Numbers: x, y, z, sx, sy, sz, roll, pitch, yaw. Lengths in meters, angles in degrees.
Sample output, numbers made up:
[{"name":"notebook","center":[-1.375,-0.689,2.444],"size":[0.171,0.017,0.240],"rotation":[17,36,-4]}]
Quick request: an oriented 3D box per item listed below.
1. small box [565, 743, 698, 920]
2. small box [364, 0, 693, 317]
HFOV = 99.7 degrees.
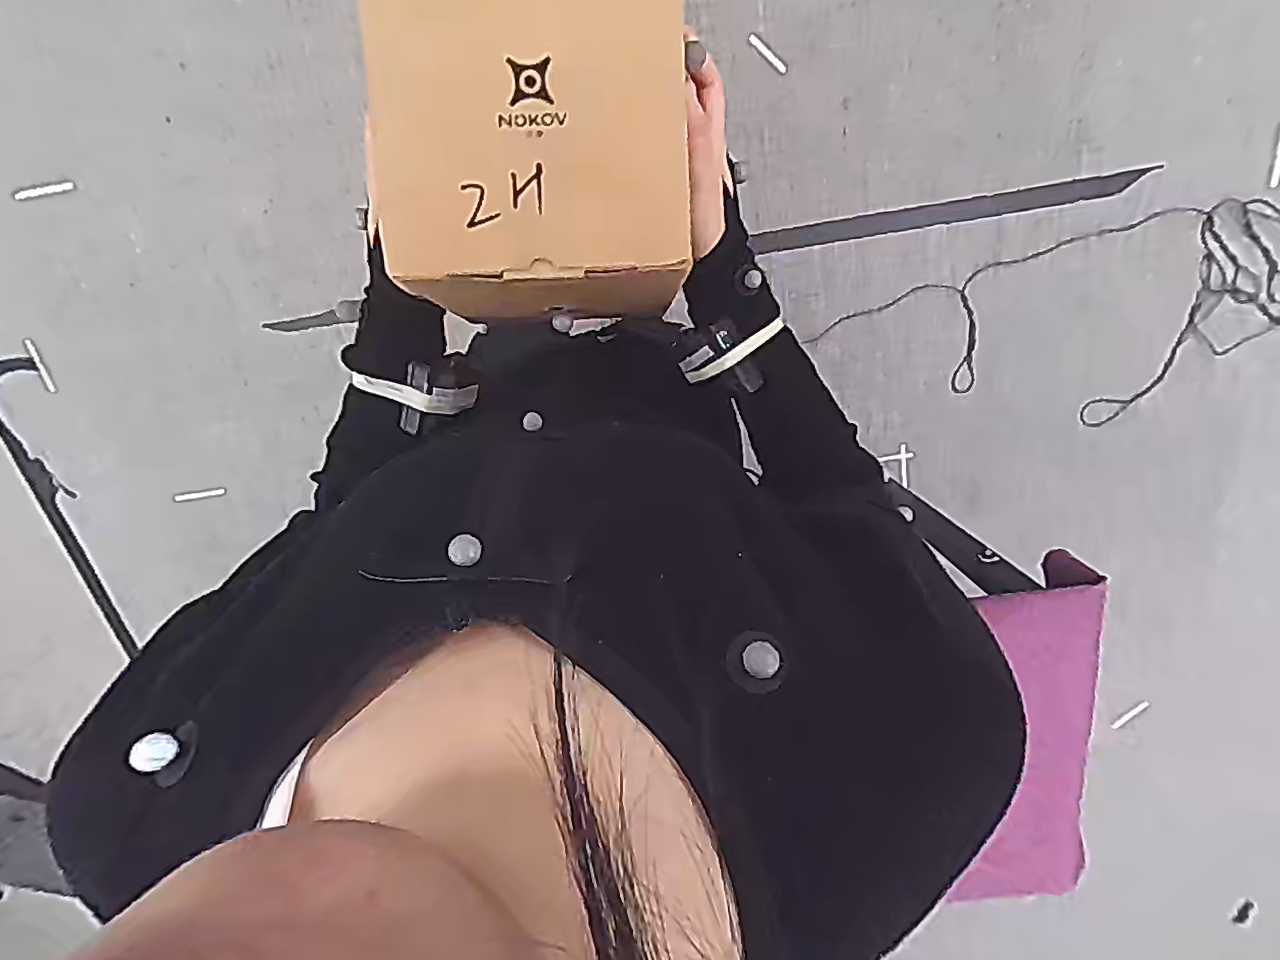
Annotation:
[{"name":"small box","center":[-0.010,0.540,0.849],"size":[0.179,0.176,0.168],"rotation":[-7,107,4]},{"name":"small box","center":[-0.059,-0.212,0.358],"size":[0.168,0.176,0.179],"rotation":[-3,99,-1]}]
